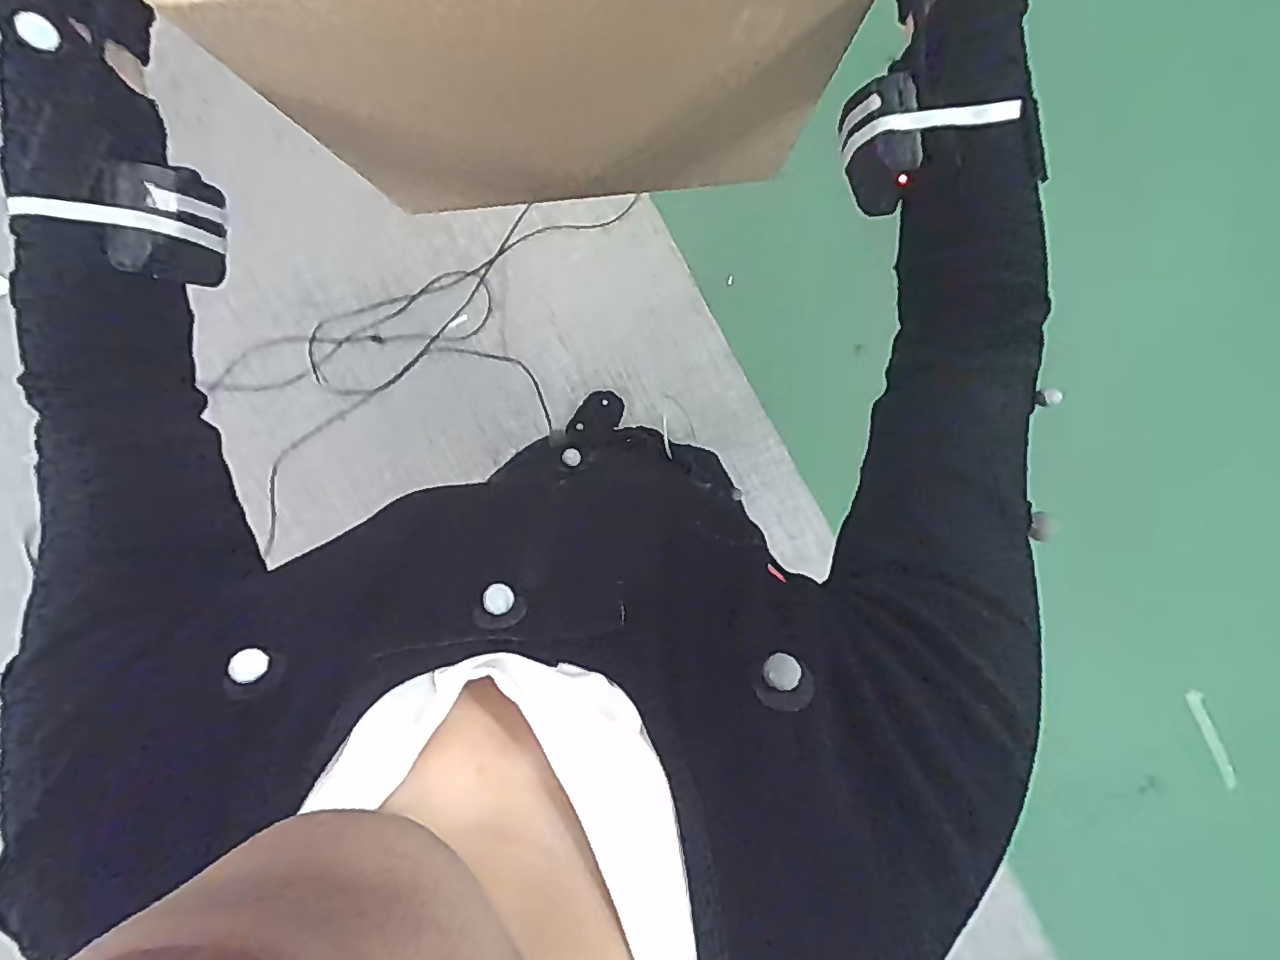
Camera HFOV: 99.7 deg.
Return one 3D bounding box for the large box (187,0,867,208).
[{"bbox_3d":[-0.066,-0.441,0.416,0.408,0.320,0.320,-5,98,1],"label":"large box"}]
